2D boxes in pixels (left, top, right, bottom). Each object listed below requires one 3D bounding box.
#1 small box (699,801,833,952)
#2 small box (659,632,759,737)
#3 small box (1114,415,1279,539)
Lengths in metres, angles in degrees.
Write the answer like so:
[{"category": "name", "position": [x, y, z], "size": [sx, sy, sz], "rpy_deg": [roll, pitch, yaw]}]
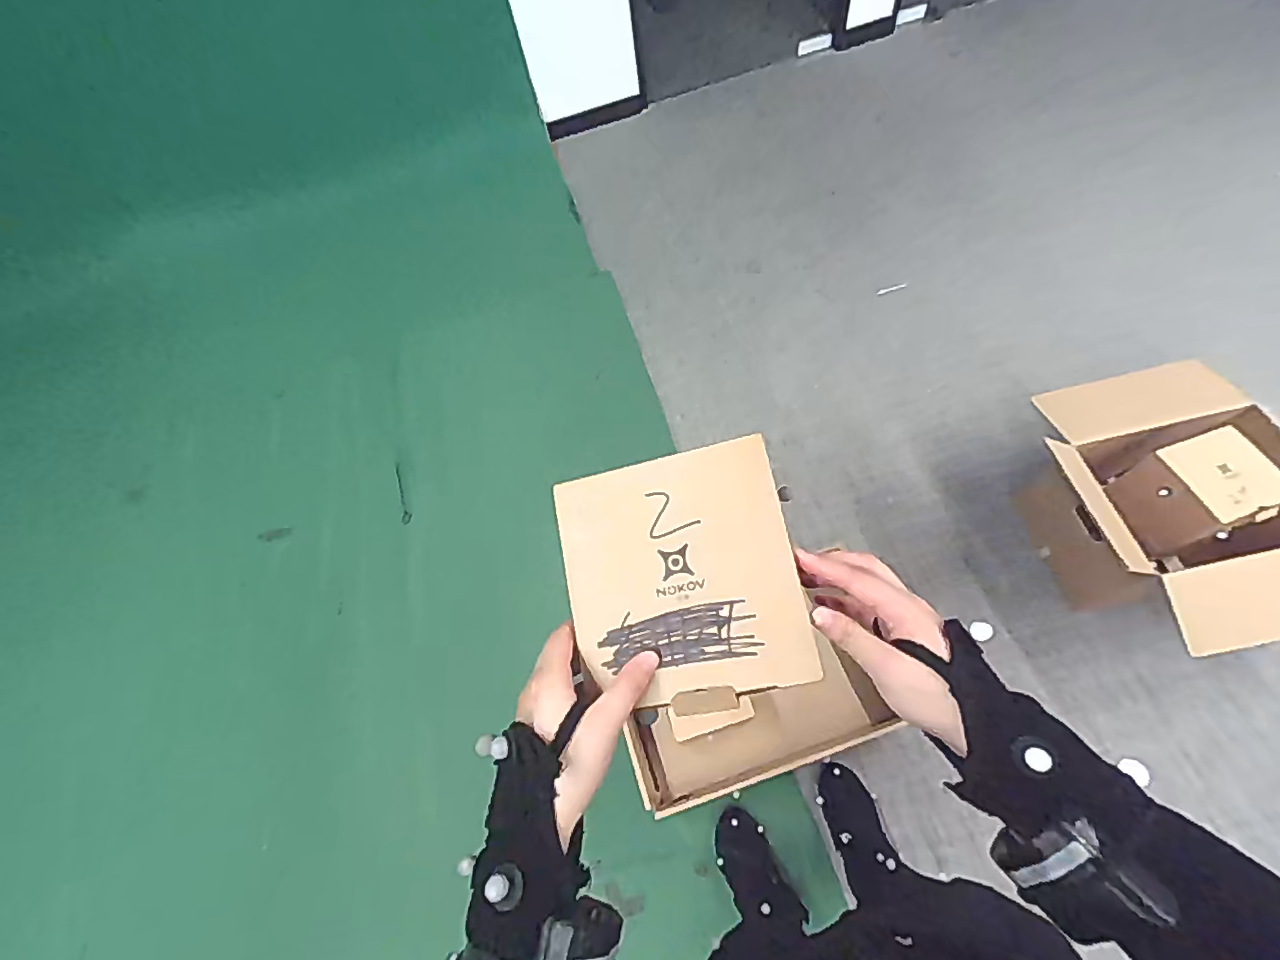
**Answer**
[{"category": "small box", "position": [0.255, 0.776, 1.075], "size": [0.176, 0.168, 0.179], "rpy_deg": [42, 49, -5]}, {"category": "small box", "position": [0.156, 0.466, 1.217], "size": [0.179, 0.176, 0.168], "rpy_deg": [-19, 60, -1]}, {"category": "small box", "position": [1.174, -0.002, 1.140], "size": [0.168, 0.176, 0.179], "rpy_deg": [-21, 61, 1]}]
